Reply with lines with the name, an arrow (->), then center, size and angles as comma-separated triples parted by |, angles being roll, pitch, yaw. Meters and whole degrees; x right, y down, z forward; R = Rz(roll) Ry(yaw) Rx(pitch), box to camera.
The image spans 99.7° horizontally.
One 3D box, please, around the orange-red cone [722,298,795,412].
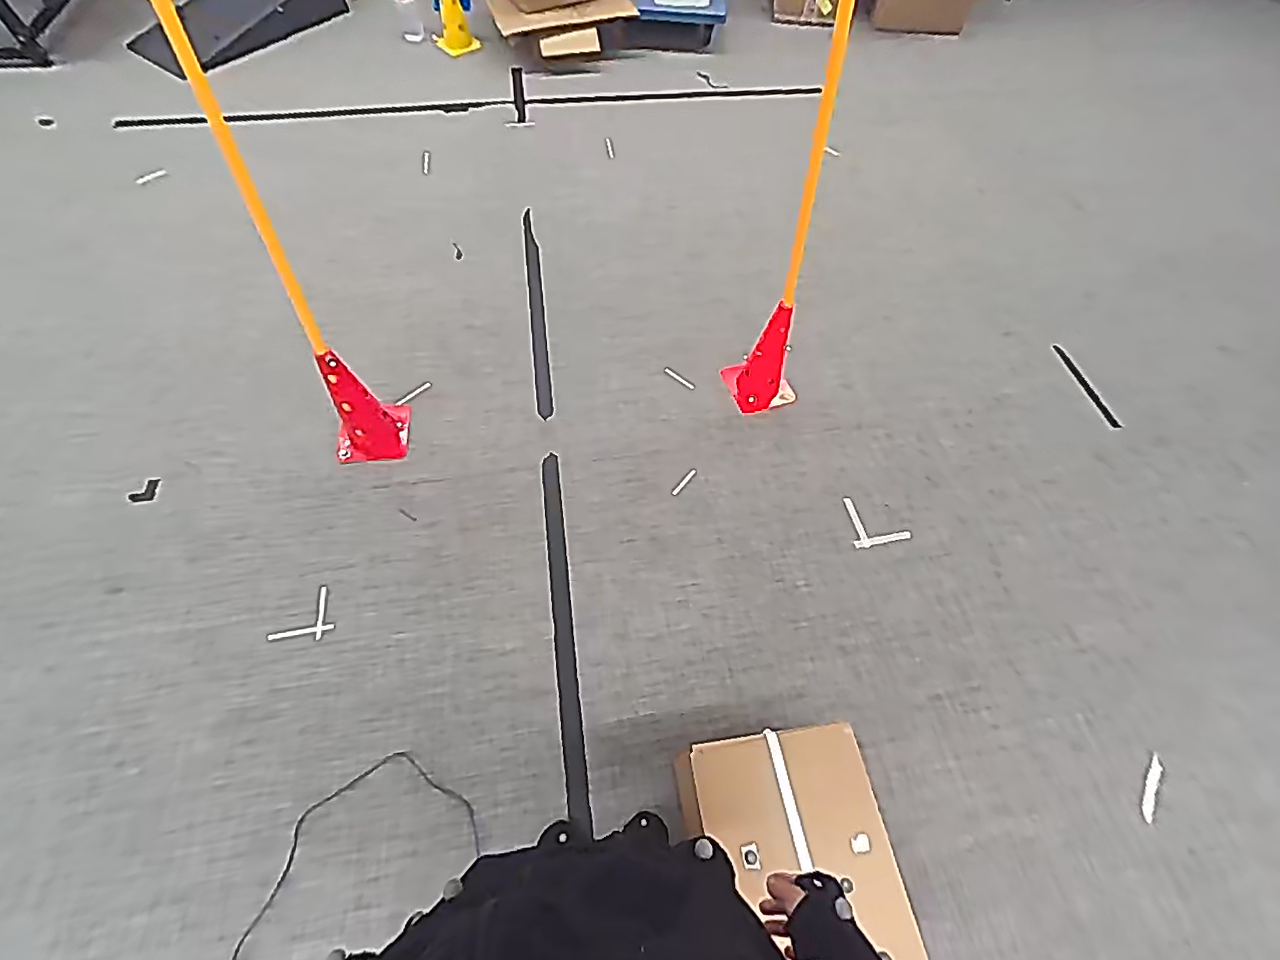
orange-red cone -> 0.397, -0.398, 1.626 | 0.199, 0.360, 0.198 | -14, 63, -12
